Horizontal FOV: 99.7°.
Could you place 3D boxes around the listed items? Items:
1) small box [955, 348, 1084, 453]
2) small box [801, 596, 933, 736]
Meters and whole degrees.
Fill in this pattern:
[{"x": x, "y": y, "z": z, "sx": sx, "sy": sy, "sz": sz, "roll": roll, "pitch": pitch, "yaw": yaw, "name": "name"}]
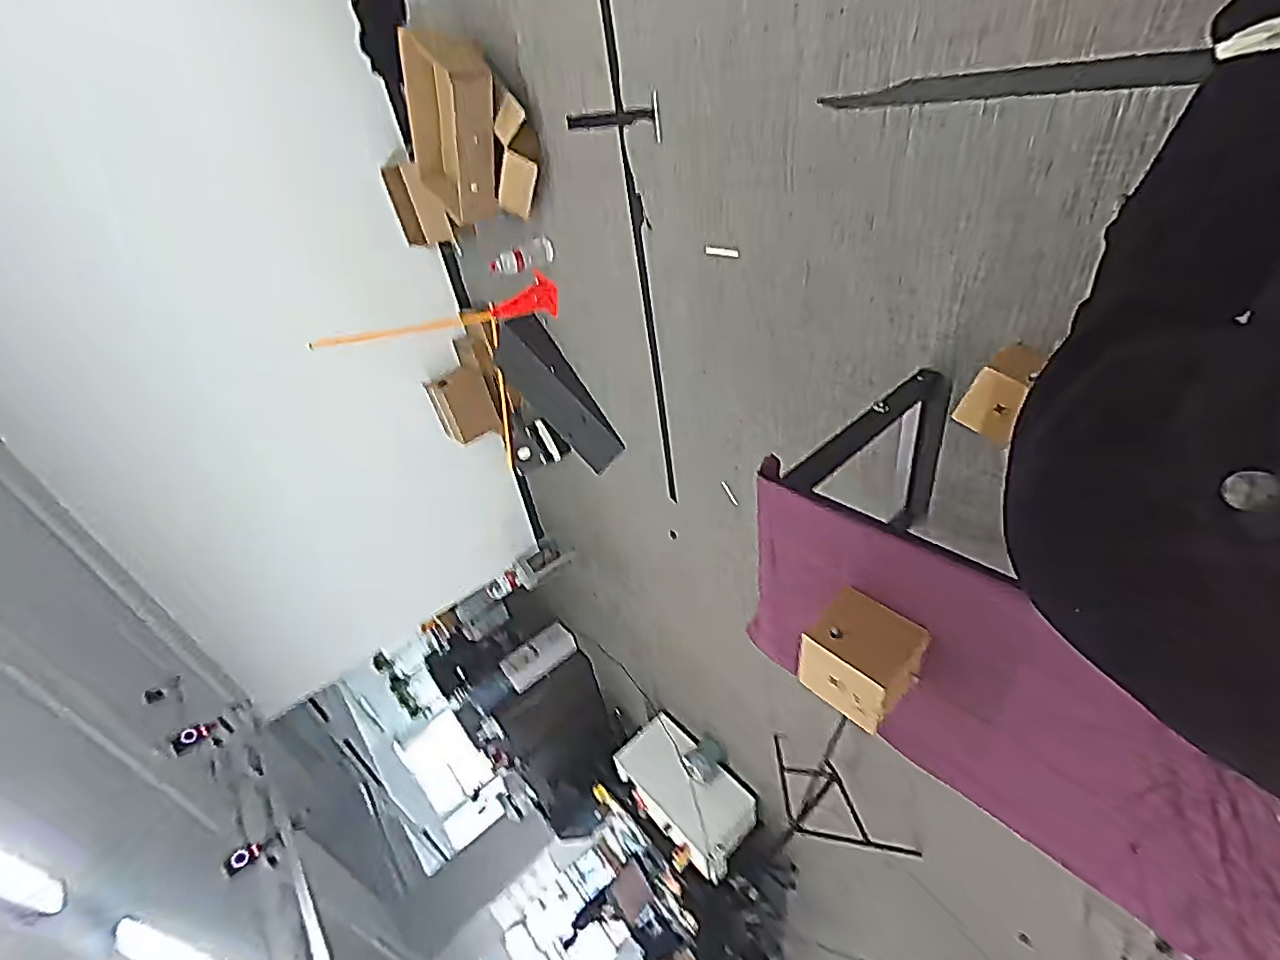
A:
[{"x": 0.926, "y": -0.203, "z": 1.324, "sx": 0.179, "sy": 0.176, "sz": 0.168, "roll": 40, "pitch": 146, "yaw": 27, "name": "small box"}, {"x": 0.450, "y": 0.361, "z": 1.088, "sx": 0.179, "sy": 0.176, "sz": 0.168, "roll": 30, "pitch": 142, "yaw": 40, "name": "small box"}]
